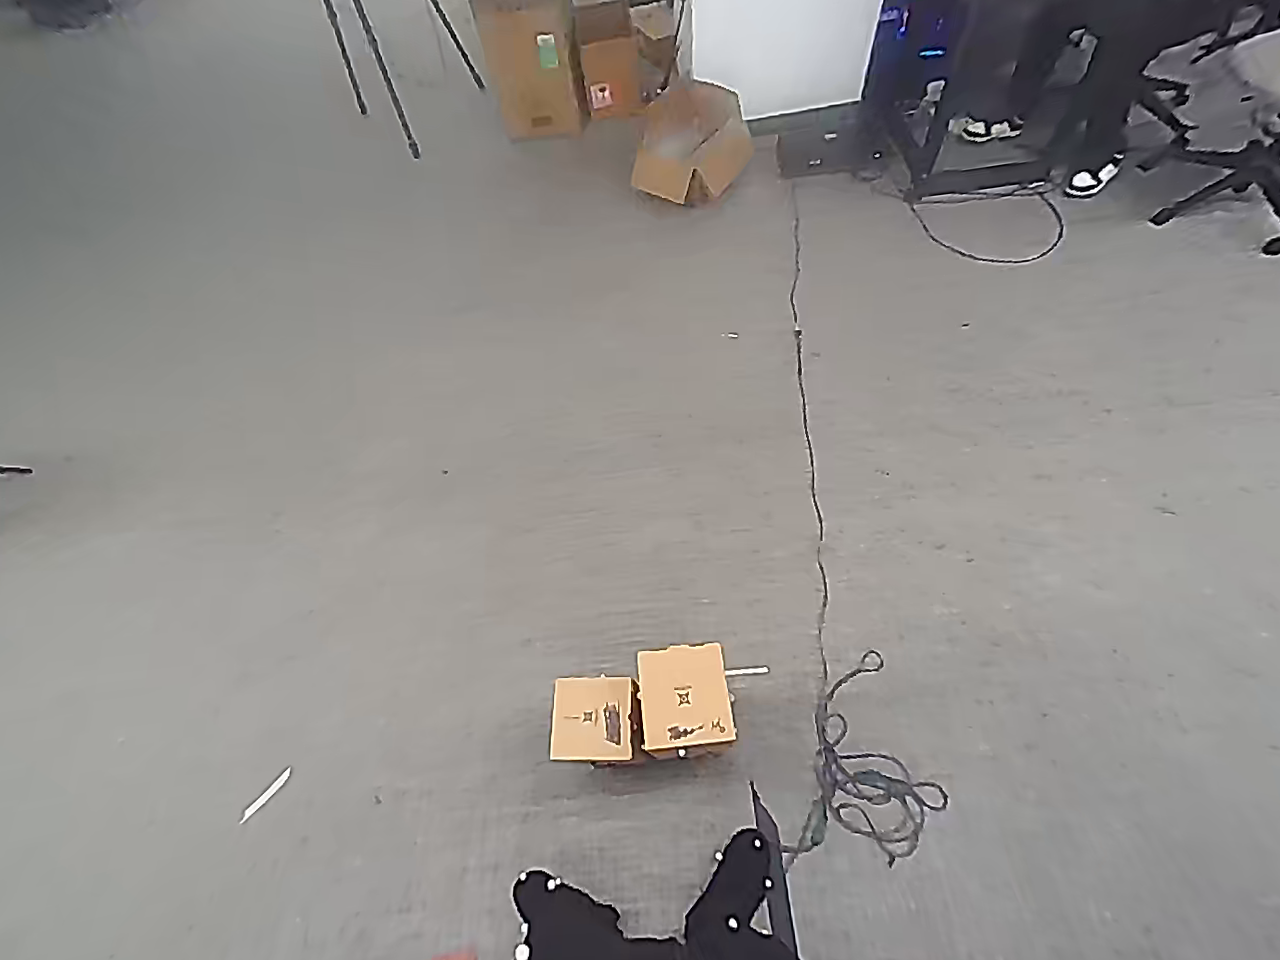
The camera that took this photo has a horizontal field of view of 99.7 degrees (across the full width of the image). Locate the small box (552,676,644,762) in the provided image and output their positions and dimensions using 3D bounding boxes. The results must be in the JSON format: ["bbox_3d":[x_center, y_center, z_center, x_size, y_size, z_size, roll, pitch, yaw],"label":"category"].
[{"bbox_3d":[-0.086,0.541,1.220,0.179,0.176,0.168,-4,61,8],"label":"small box"}]

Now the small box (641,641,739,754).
[{"bbox_3d":[0.096,0.432,1.065,0.168,0.176,0.179,-8,59,4],"label":"small box"}]
